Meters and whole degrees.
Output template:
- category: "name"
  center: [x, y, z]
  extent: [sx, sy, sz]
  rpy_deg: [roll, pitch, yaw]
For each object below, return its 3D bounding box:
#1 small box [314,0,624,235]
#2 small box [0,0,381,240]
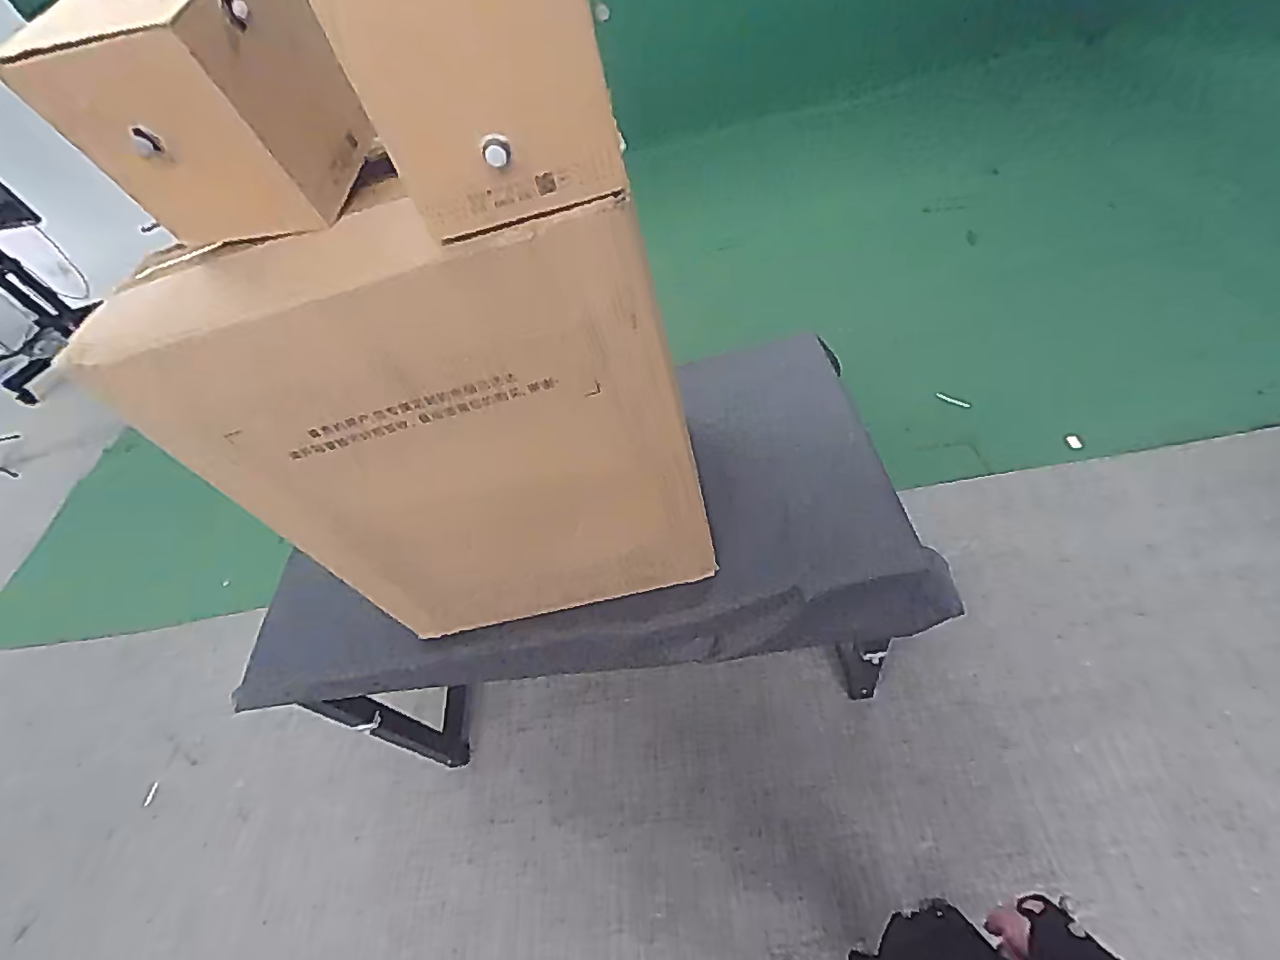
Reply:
- category: "small box"
  center: [-0.115, -0.325, 0.426]
  extent: [0.168, 0.176, 0.179]
  rpy_deg: [-13, 51, 5]
- category: "small box"
  center: [-0.383, -0.346, 0.498]
  extent: [0.179, 0.176, 0.168]
  rpy_deg: [-1, 64, 13]
